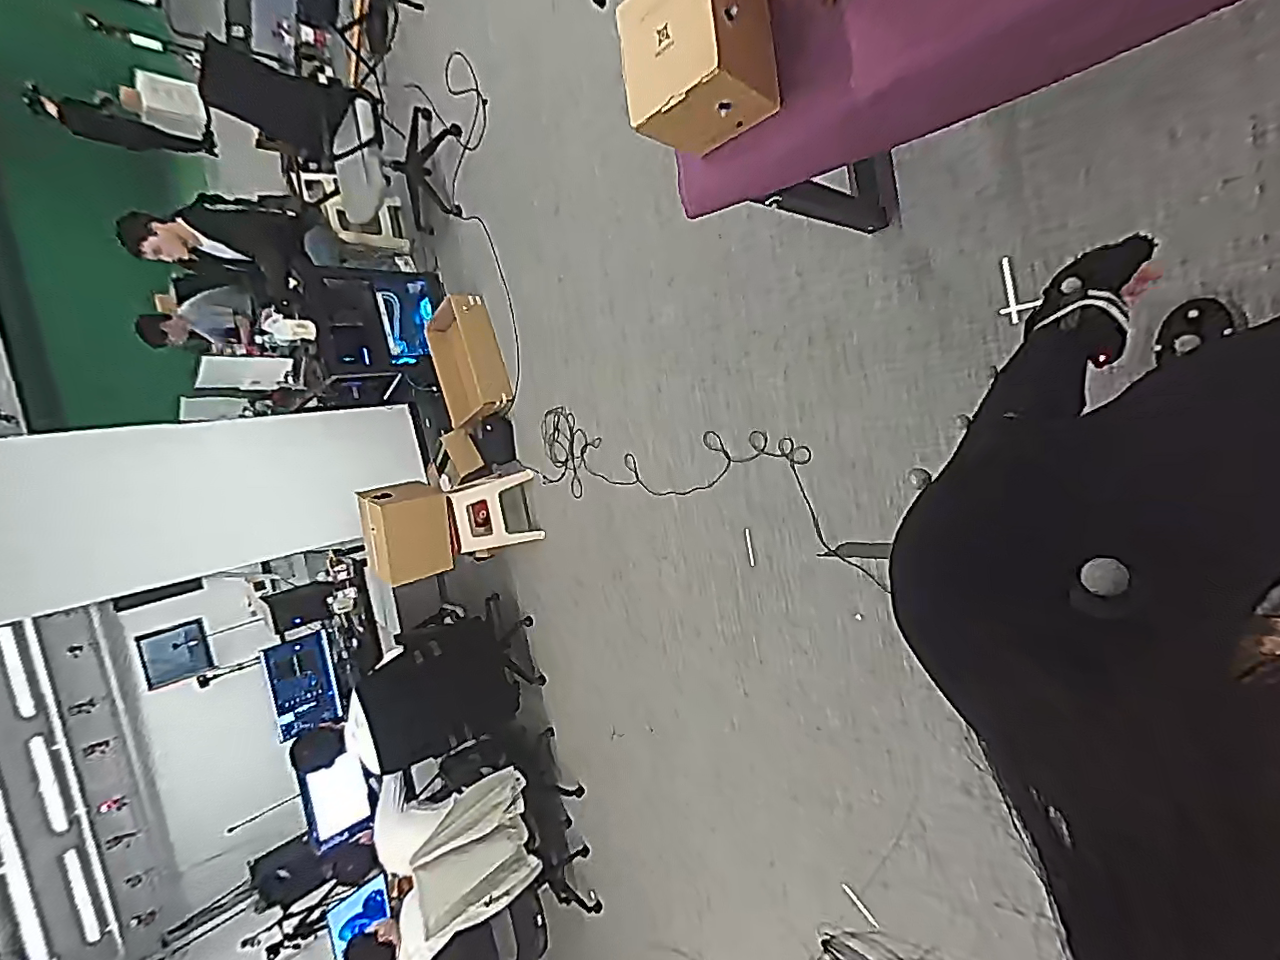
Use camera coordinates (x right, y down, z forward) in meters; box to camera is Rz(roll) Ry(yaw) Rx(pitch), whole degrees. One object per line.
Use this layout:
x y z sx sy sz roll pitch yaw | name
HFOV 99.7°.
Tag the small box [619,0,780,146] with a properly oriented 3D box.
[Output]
0.094 -0.632 0.808 0.168 0.176 0.179 -4 96 44 | small box
